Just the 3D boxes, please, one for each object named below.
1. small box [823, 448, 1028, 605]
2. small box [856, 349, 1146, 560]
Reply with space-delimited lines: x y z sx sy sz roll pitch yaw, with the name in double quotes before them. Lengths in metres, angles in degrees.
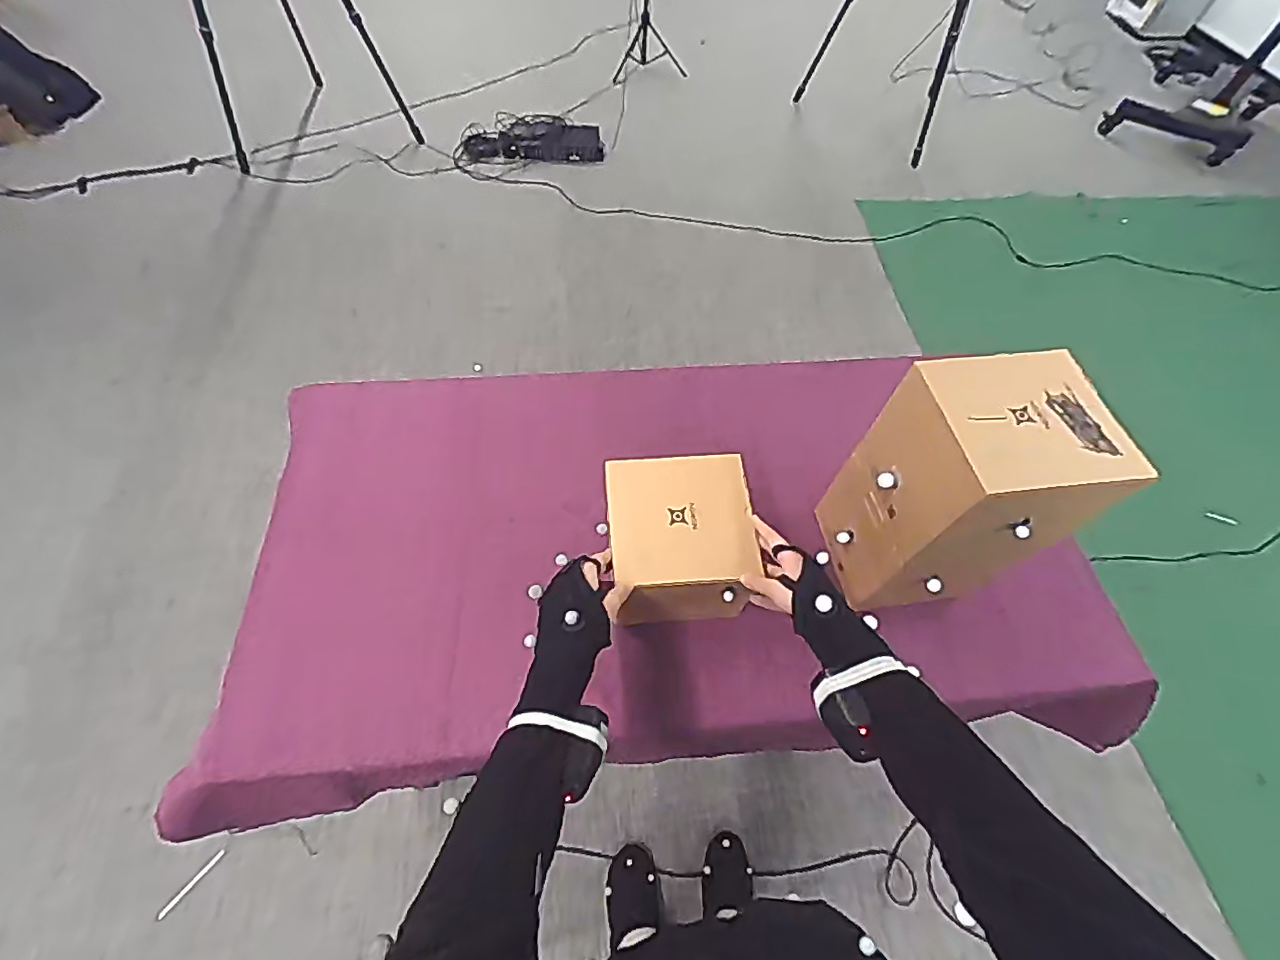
"small box" 0.369 0.061 0.744 0.179 0.176 0.168 -6 59 -5
"small box" 0.375 -0.023 0.603 0.179 0.176 0.168 -5 58 -5
